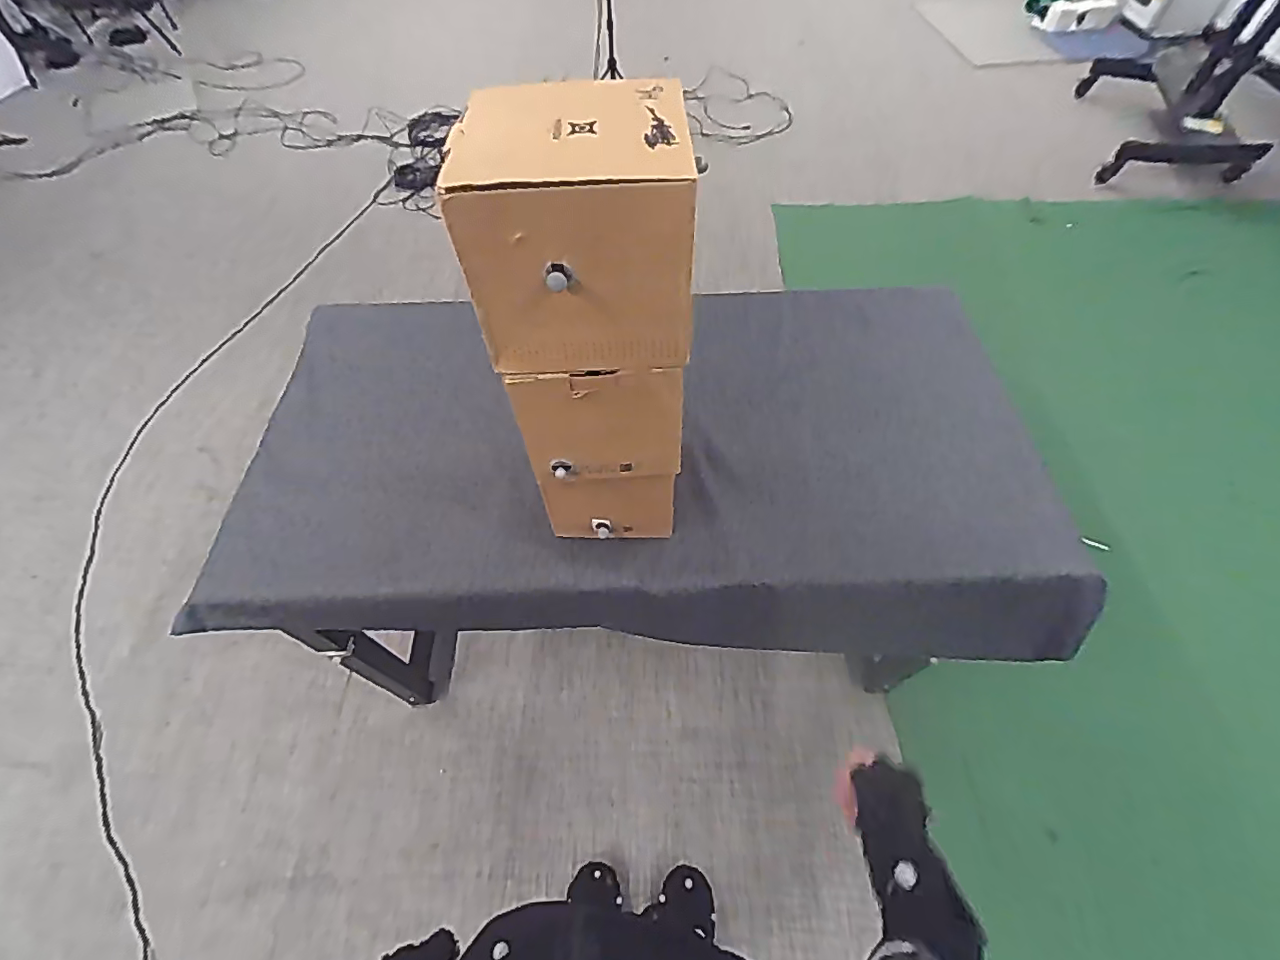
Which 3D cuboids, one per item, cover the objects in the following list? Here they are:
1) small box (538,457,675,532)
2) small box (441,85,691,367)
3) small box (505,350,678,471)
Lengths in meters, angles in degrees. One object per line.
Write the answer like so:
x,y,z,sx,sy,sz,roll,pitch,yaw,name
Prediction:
-0.037,-0.043,0.753,0.168,0.176,0.179,-2,57,2,small box
-0.051,-0.217,0.479,0.179,0.176,0.168,-5,54,-1,small box
-0.048,-0.123,0.610,0.168,0.176,0.179,-7,57,-1,small box
